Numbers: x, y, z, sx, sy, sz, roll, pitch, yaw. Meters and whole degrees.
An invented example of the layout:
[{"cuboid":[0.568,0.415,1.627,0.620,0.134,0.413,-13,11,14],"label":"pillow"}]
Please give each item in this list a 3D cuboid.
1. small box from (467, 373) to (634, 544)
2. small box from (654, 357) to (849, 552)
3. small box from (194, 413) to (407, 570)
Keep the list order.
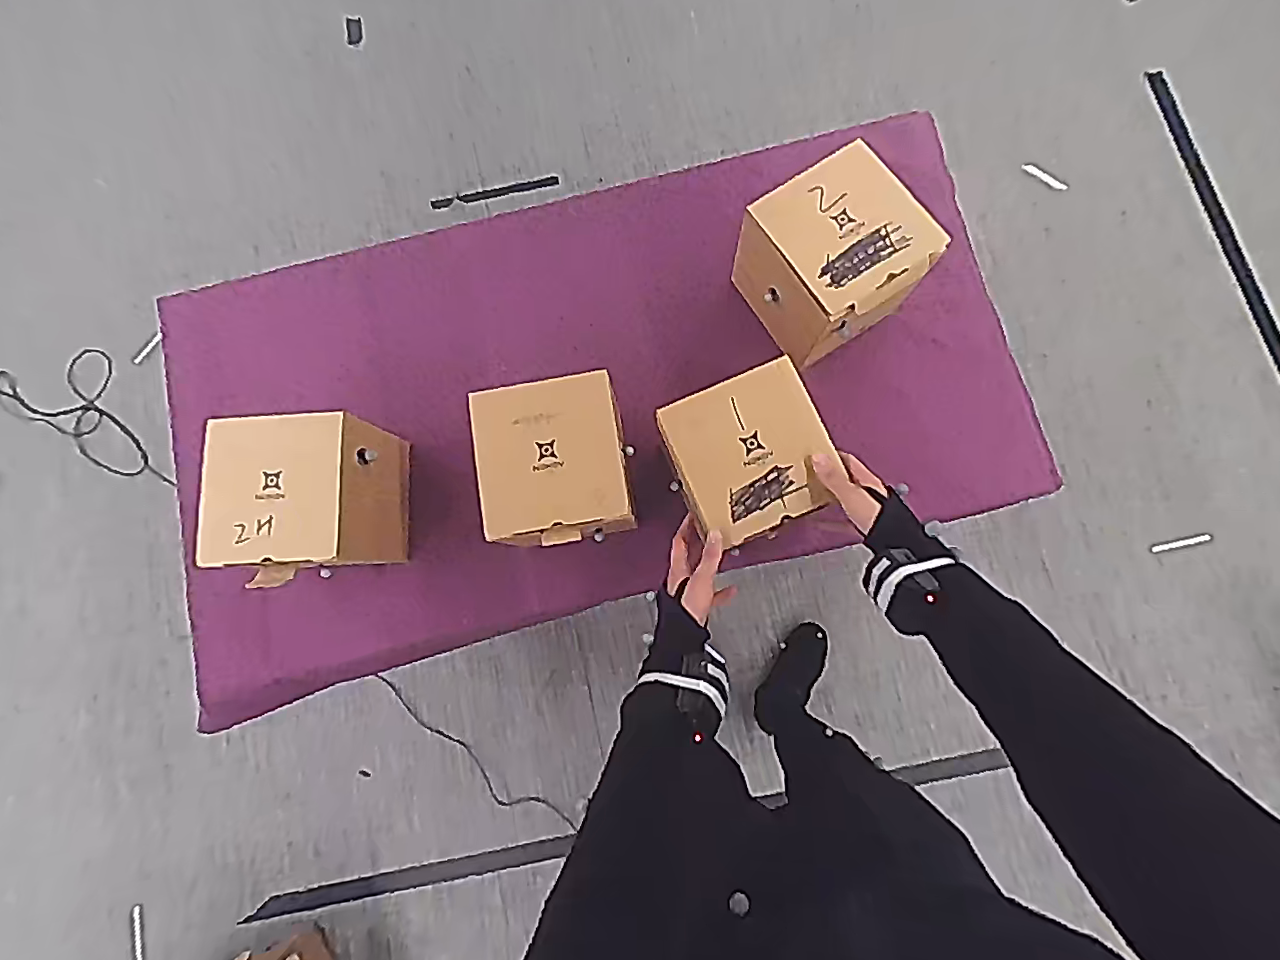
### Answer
[{"cuboid":[-0.103,-0.015,0.688,0.168,0.176,0.179,-10,80,0],"label":"small box"},{"cuboid":[0.127,-0.019,0.675,0.168,0.176,0.179,-23,79,-1],"label":"small box"},{"cuboid":[-0.418,0.024,0.694,0.168,0.176,0.179,-3,81,2],"label":"small box"}]
